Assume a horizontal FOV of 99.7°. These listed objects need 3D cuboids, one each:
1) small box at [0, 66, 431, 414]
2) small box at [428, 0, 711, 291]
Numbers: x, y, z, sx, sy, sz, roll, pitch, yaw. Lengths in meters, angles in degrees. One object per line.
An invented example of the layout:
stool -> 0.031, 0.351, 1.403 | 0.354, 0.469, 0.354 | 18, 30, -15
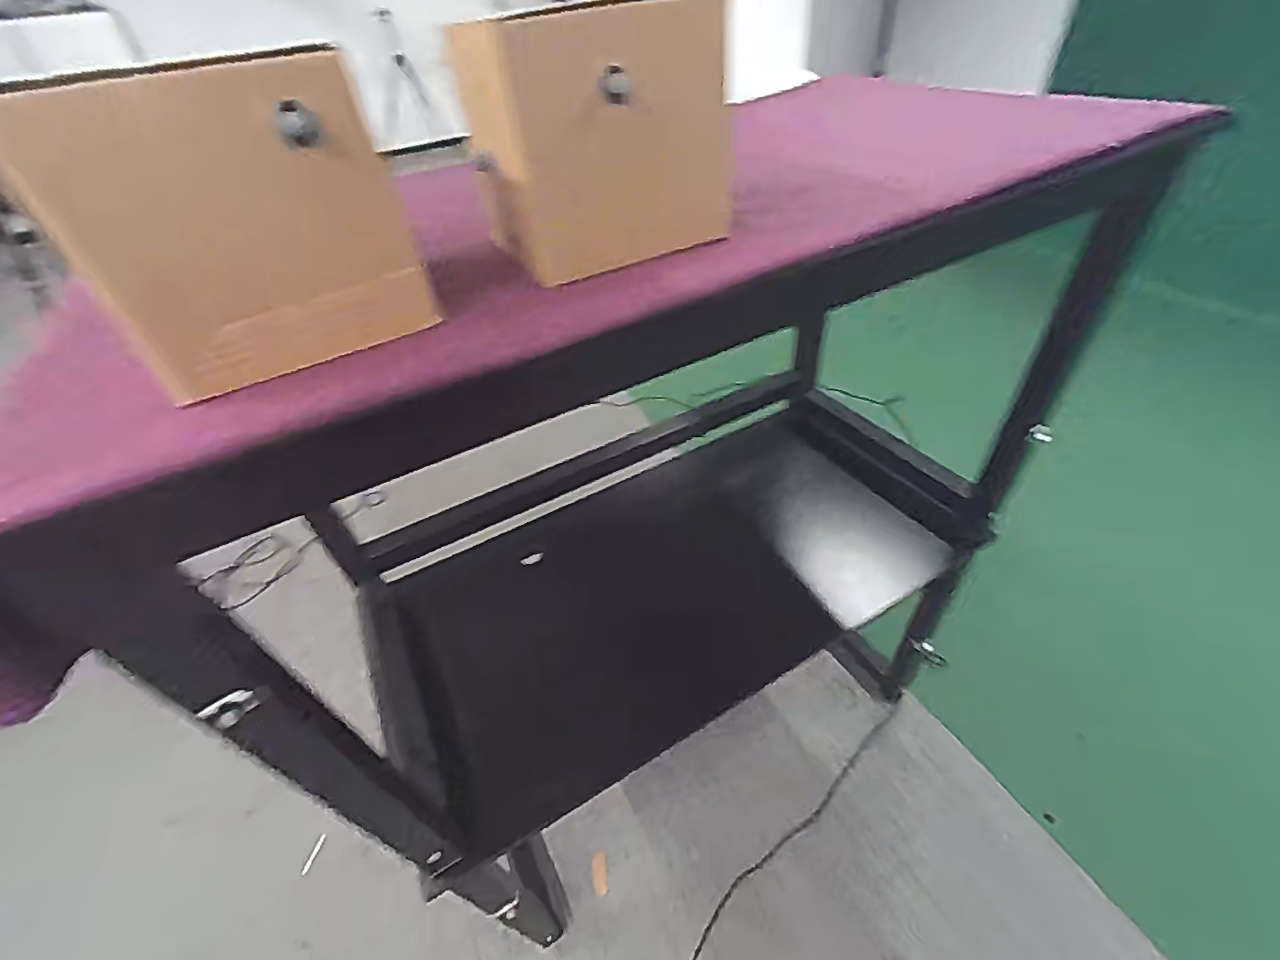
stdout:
small box -> -0.277, -0.171, 0.380 | 0.179, 0.176, 0.168 | -27, 45, -20
small box -> -0.052, -0.280, 0.459 | 0.179, 0.176, 0.168 | -23, 44, -16
